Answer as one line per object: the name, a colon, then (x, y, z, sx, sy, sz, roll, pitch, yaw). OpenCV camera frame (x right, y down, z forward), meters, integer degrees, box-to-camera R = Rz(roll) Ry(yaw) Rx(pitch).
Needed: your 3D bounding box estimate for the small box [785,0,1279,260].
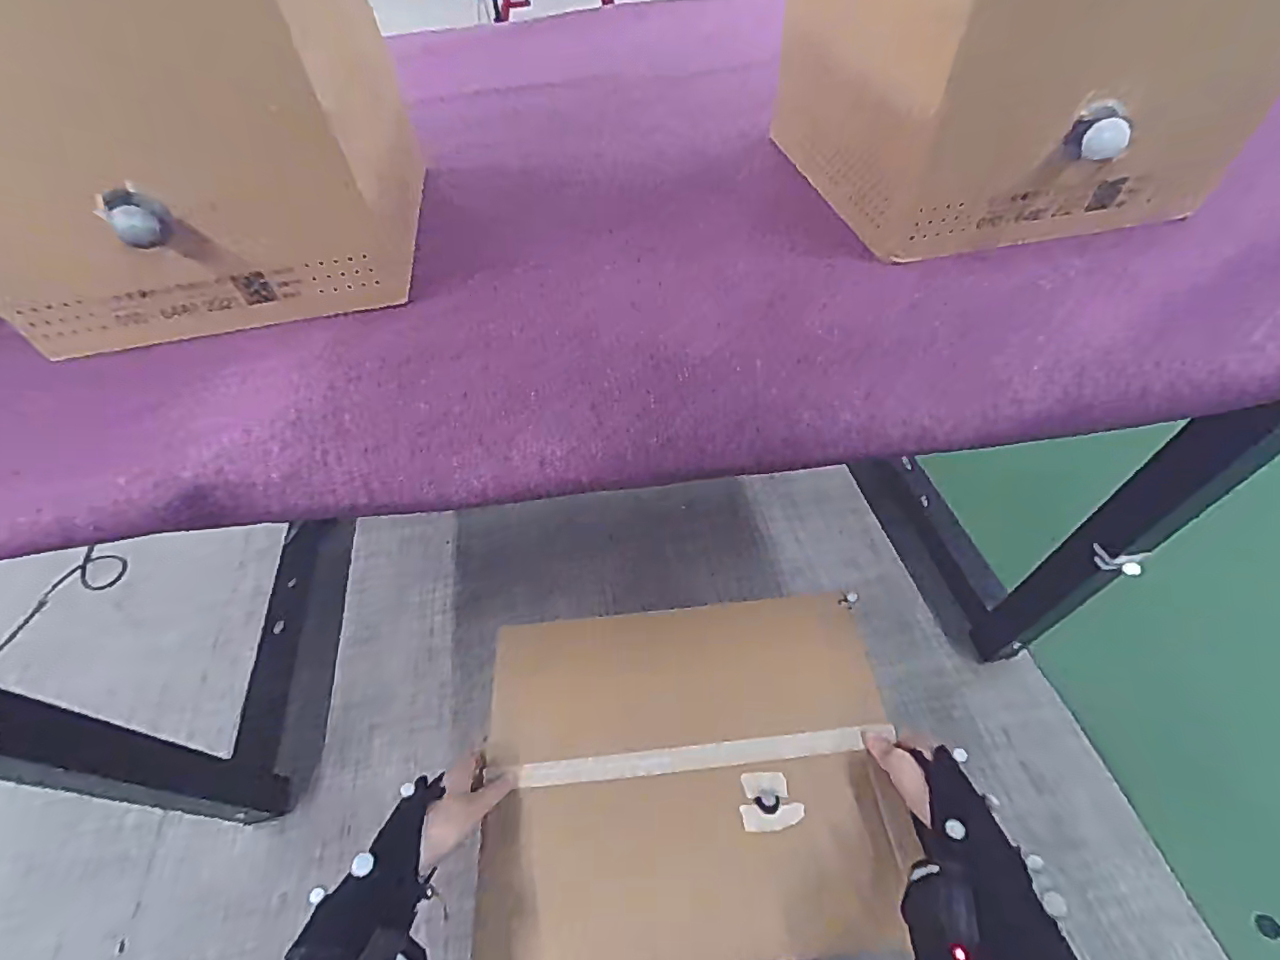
small box: (0.183, -0.234, 0.263, 0.168, 0.176, 0.179, -10, 52, -4)

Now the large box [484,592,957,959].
large box: (0.058, 0.363, 0.648, 0.408, 0.320, 0.320, -5, 52, -2)
